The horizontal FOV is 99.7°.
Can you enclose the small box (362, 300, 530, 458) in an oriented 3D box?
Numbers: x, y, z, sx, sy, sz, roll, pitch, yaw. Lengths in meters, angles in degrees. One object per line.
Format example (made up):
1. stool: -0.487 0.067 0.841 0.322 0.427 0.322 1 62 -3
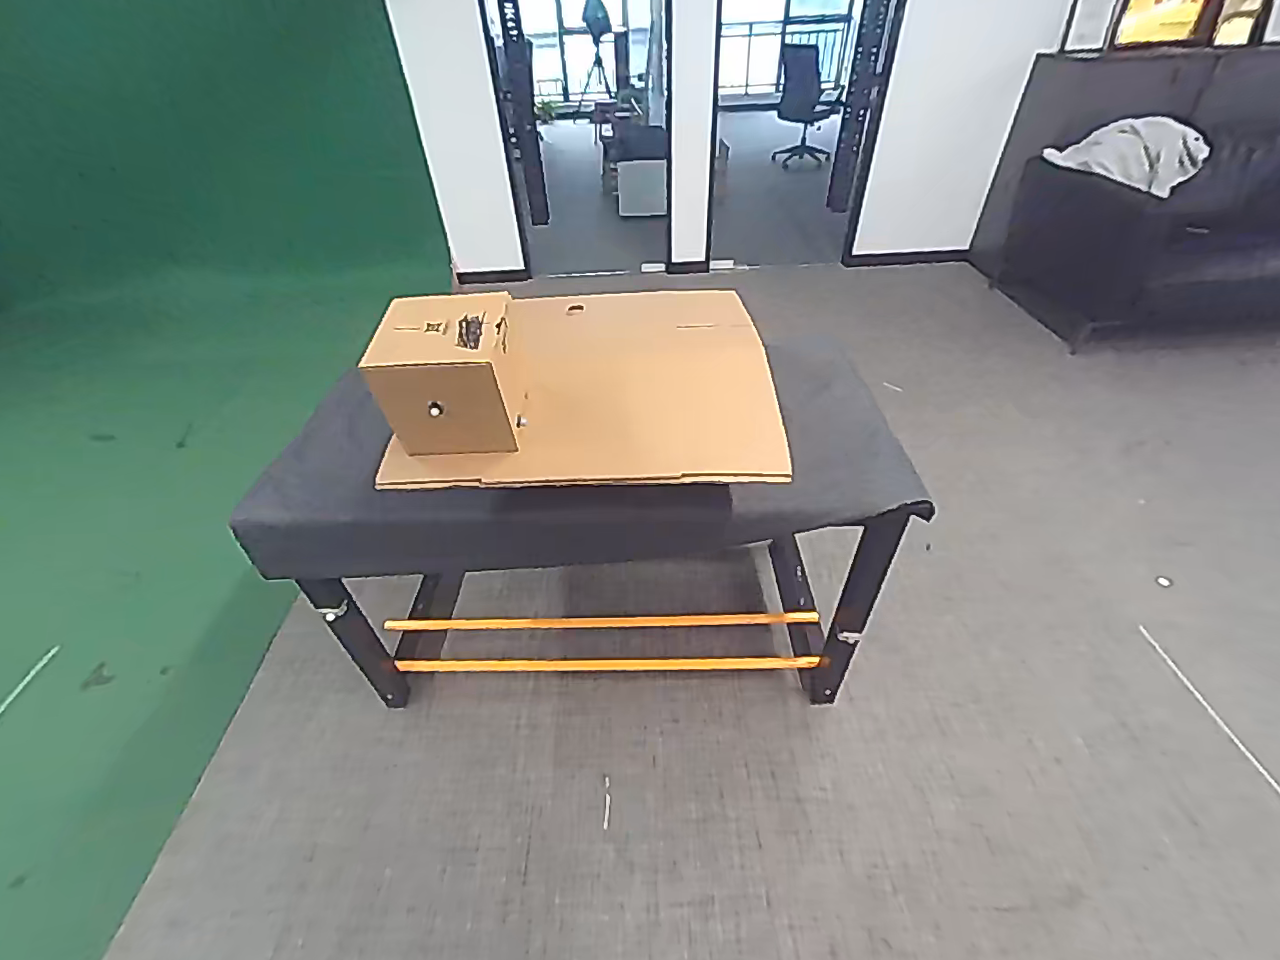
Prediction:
1. small box: -0.270 -0.147 0.808 0.179 0.176 0.168 -3 49 2
